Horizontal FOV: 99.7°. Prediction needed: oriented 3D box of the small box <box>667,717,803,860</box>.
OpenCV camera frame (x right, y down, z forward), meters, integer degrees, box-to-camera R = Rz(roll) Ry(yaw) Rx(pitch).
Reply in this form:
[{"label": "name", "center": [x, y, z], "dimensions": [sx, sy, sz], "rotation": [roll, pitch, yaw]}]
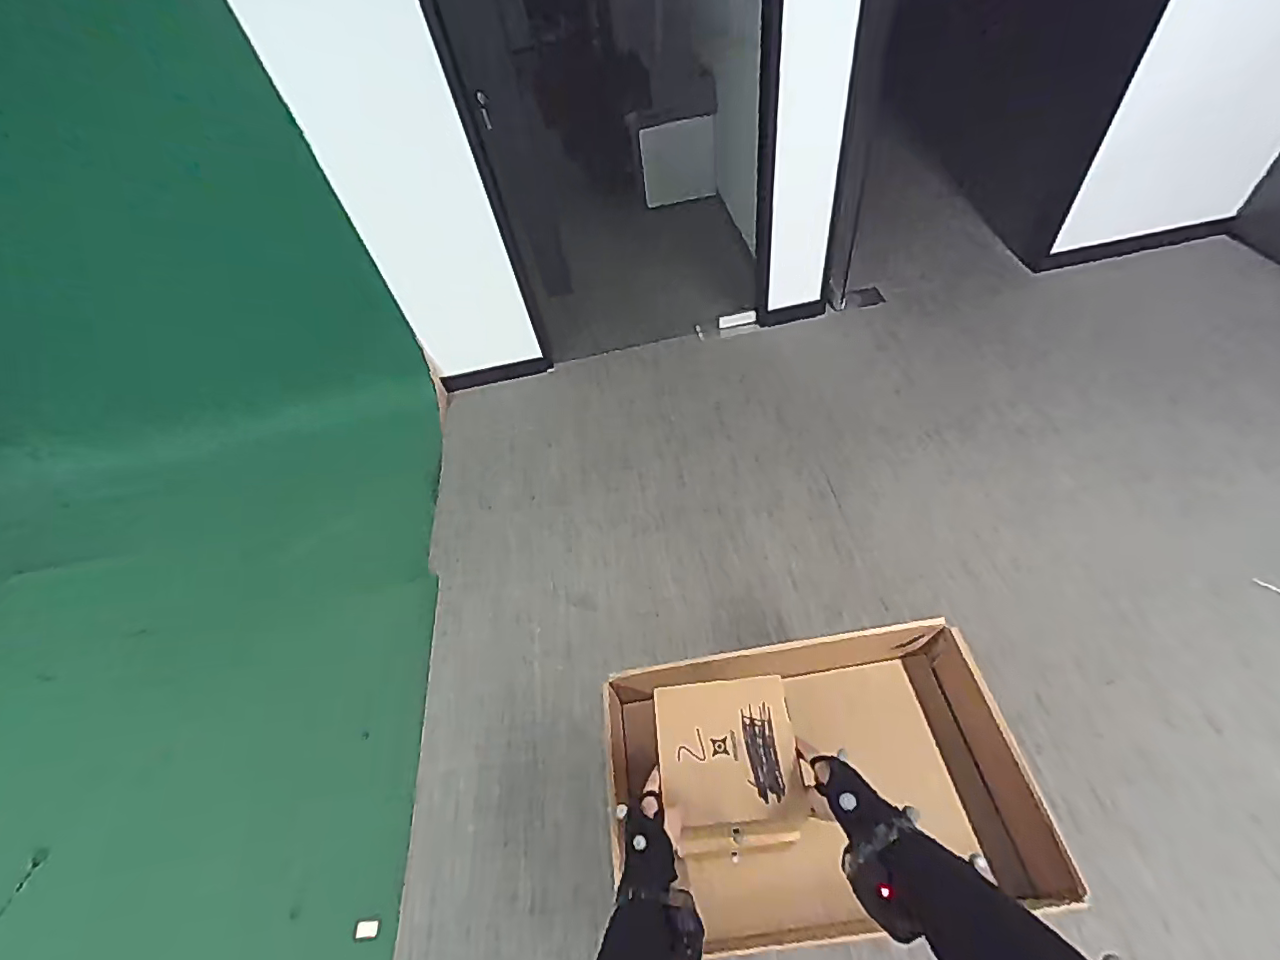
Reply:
[{"label": "small box", "center": [0.144, 0.492, 0.858], "dimensions": [0.179, 0.176, 0.168], "rotation": [-9, 50, 4]}]
